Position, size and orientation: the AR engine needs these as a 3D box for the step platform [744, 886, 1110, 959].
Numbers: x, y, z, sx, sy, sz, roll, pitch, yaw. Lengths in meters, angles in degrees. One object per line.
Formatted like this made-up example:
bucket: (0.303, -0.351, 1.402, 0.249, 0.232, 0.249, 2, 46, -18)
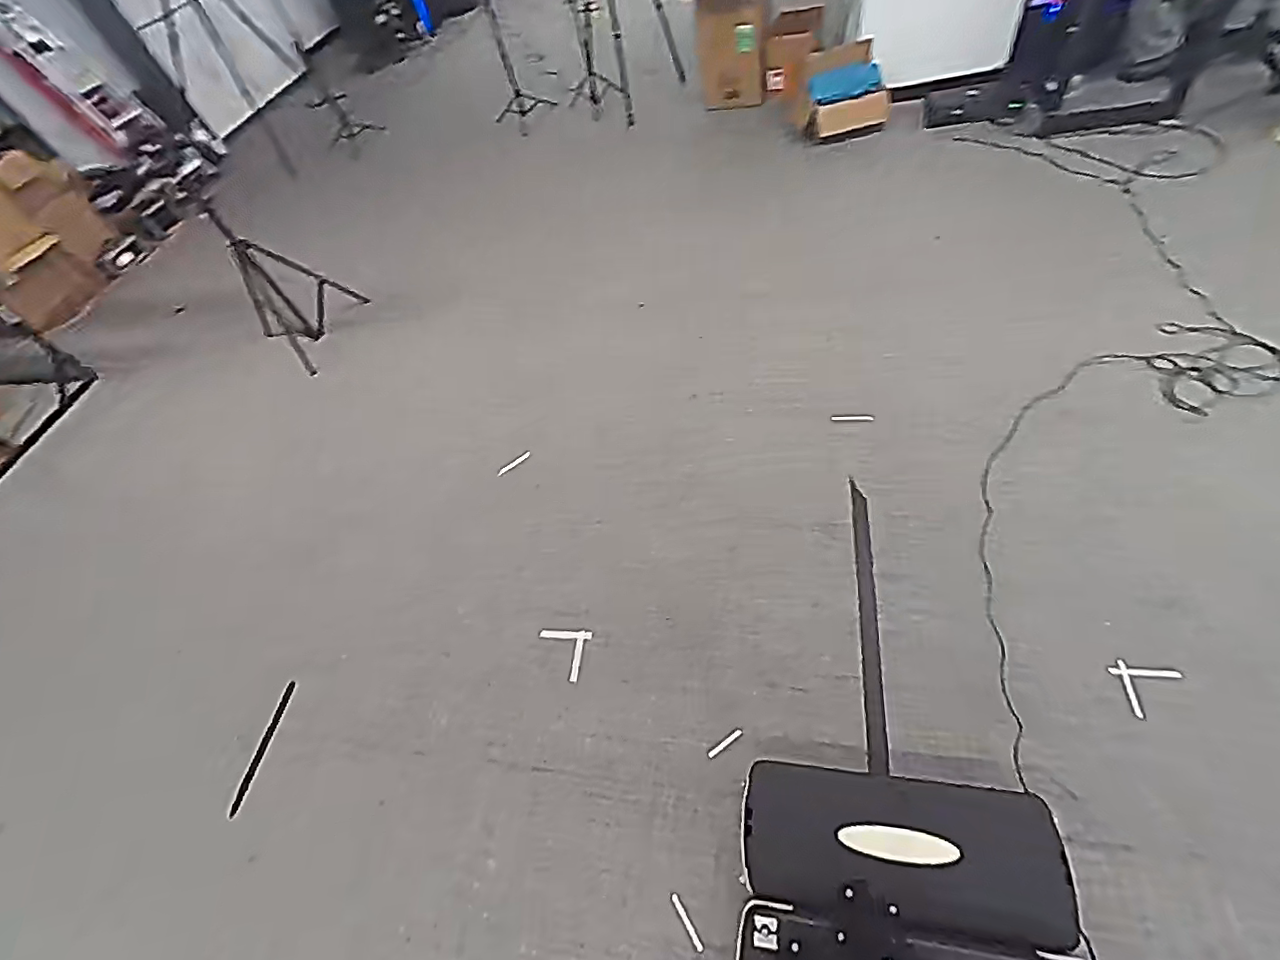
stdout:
step platform: (0.548, 1.016, 1.052, 0.684, 0.204, 0.286, -2, 54, 14)
